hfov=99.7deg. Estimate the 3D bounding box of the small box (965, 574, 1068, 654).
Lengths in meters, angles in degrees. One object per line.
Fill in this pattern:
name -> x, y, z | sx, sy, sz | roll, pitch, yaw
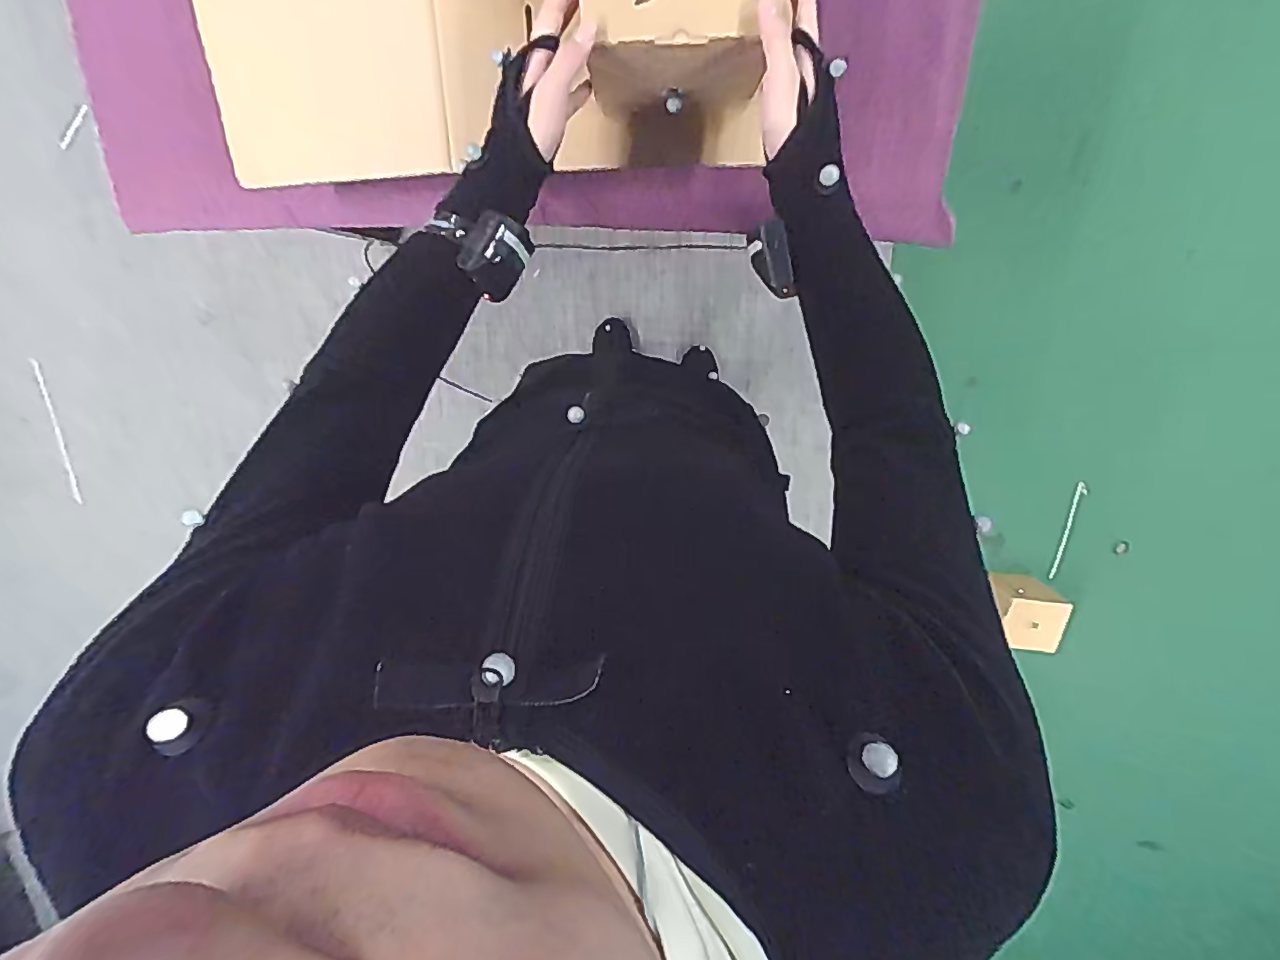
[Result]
small box -> 1.135, 0.402, 1.644 | 0.179, 0.176, 0.168 | 6, 108, 2
